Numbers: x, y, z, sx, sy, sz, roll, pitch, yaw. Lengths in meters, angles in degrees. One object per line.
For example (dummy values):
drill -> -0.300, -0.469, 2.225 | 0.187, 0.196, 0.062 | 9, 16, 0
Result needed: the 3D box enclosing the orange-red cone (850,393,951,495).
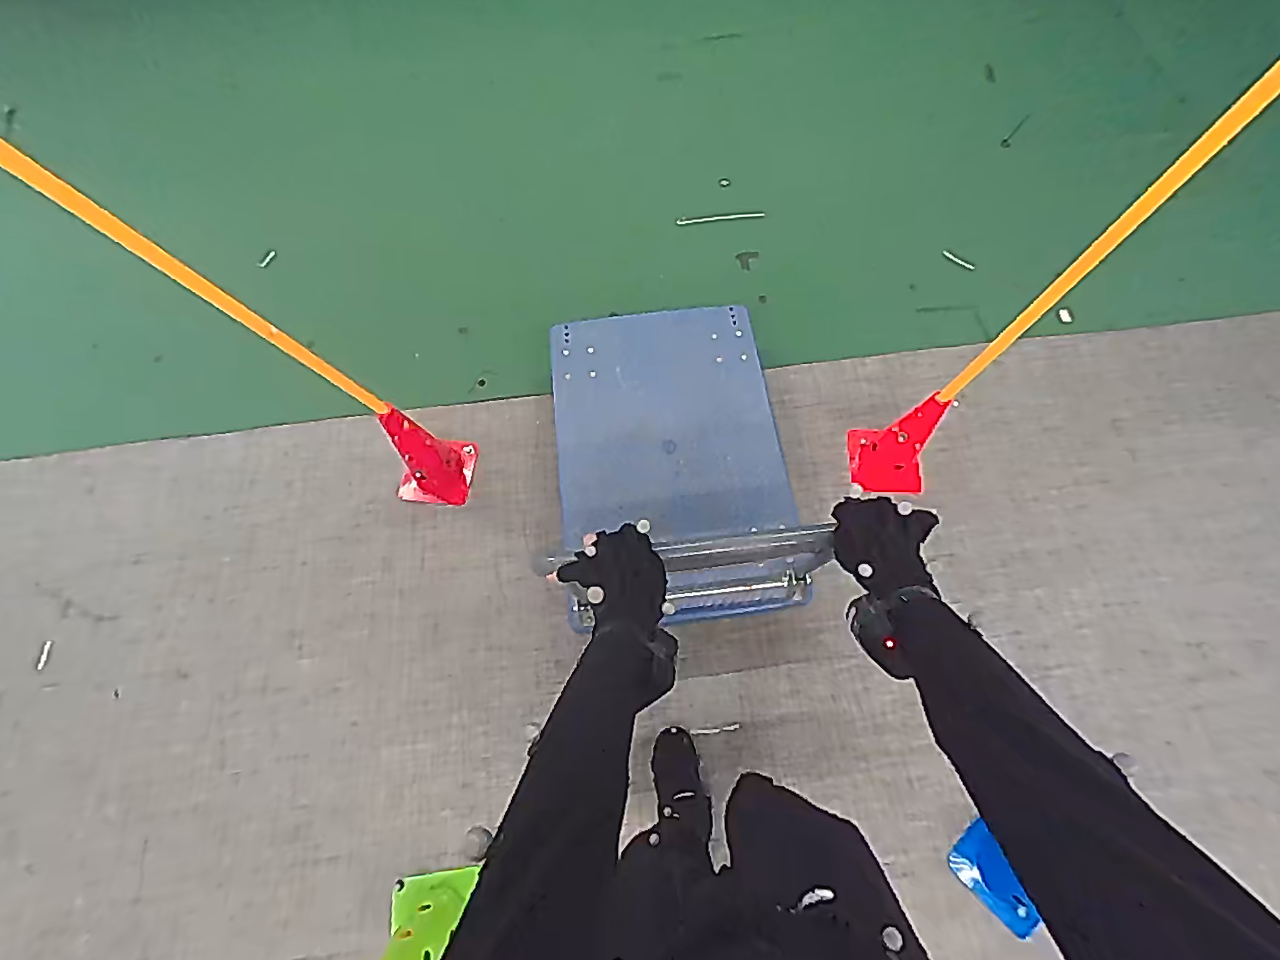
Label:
orange-red cone -> 0.705, -0.116, 1.403 | 0.198, 0.360, 0.199 | 3, 68, 4
